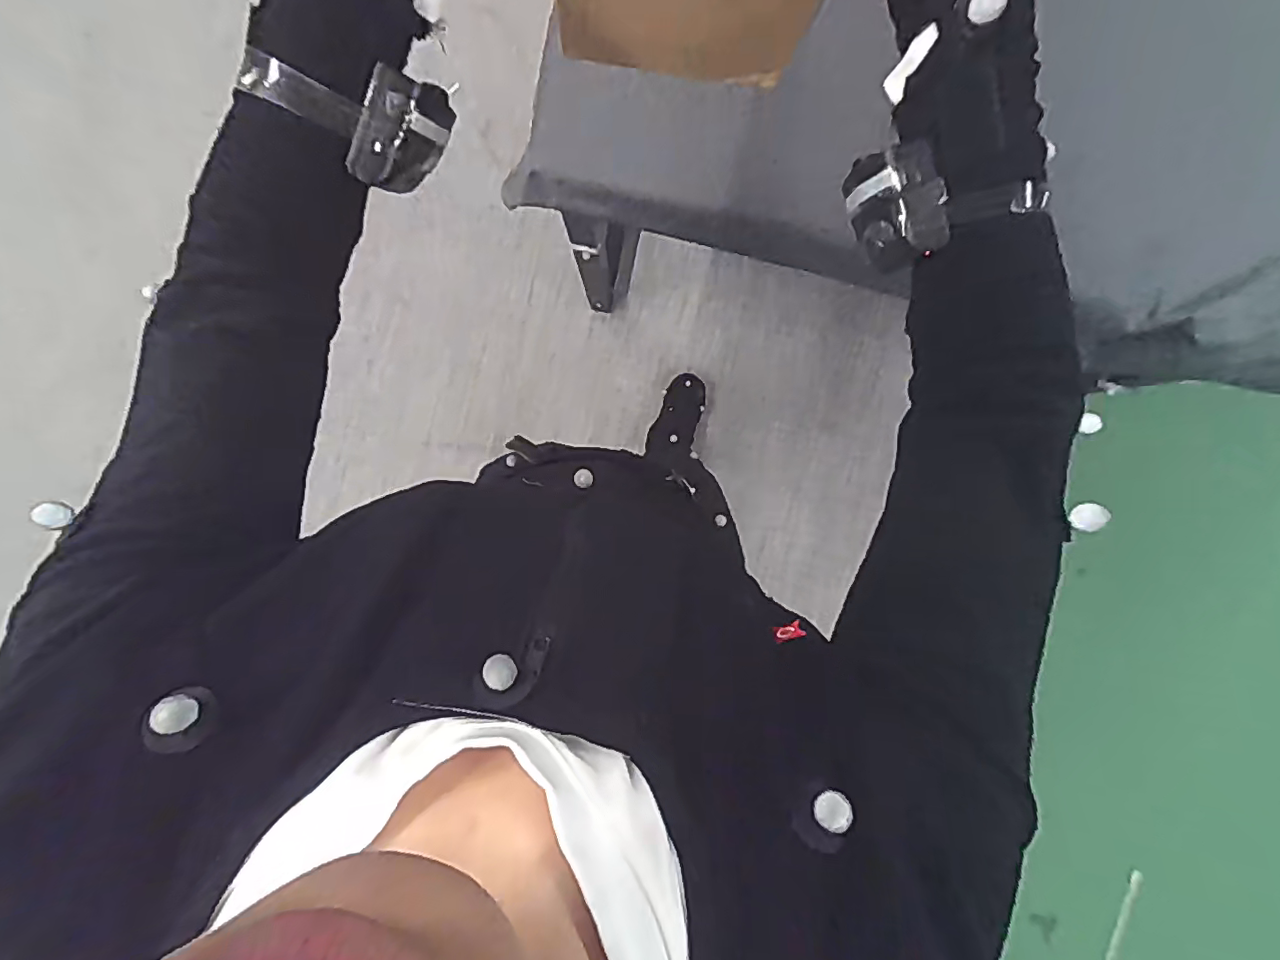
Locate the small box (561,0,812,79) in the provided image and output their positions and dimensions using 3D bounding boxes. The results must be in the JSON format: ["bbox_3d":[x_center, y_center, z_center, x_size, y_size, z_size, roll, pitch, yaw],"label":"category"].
[{"bbox_3d":[0.040,-0.396,0.341,0.179,0.176,0.168,5,97,-6],"label":"small box"}]
